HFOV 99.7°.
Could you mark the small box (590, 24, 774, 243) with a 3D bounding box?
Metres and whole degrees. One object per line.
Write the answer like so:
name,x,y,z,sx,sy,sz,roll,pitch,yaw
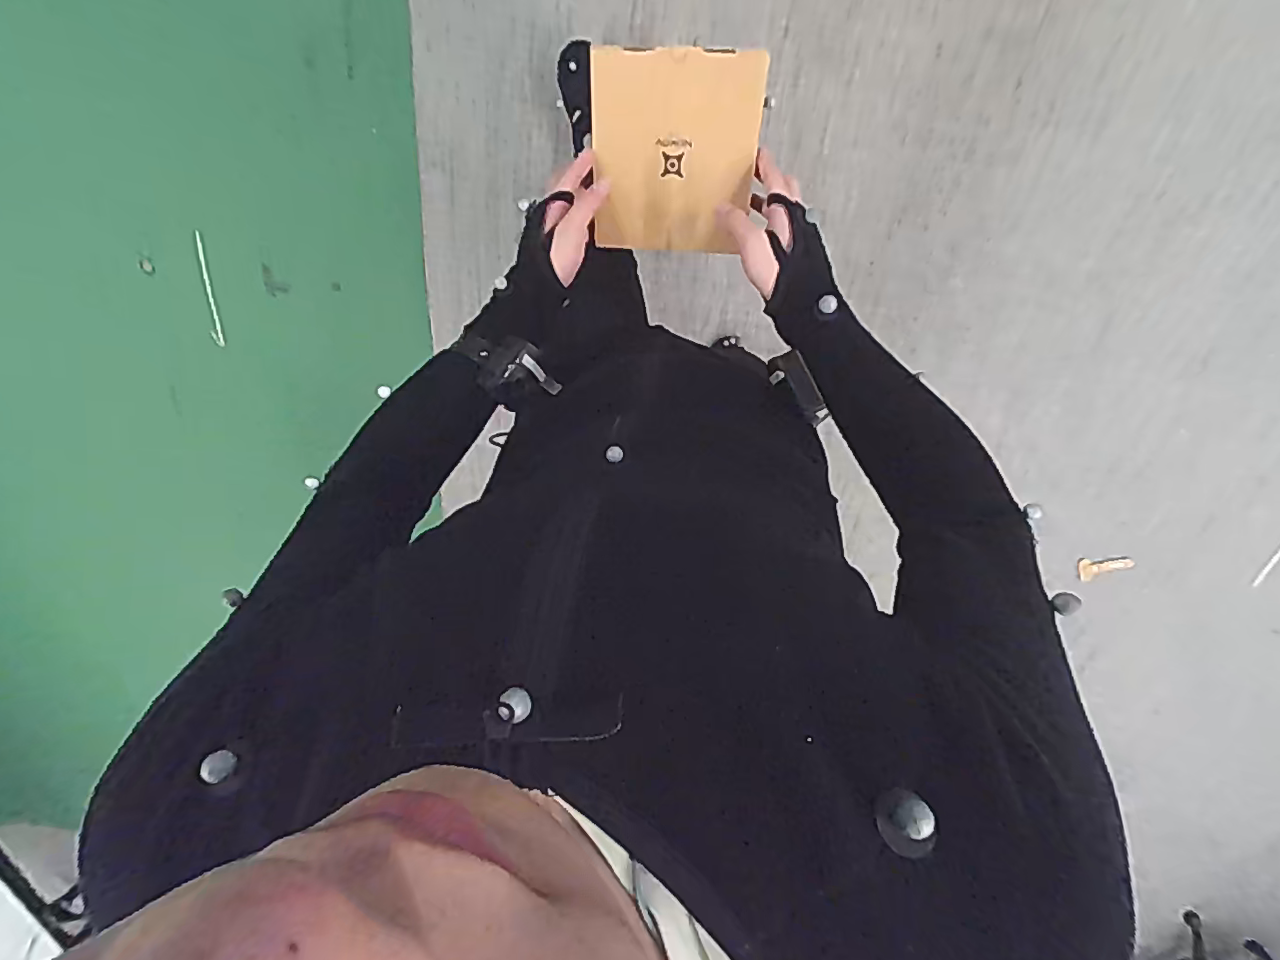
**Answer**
small box,0.044,-0.373,0.585,0.168,0.176,0.179,5,127,5
